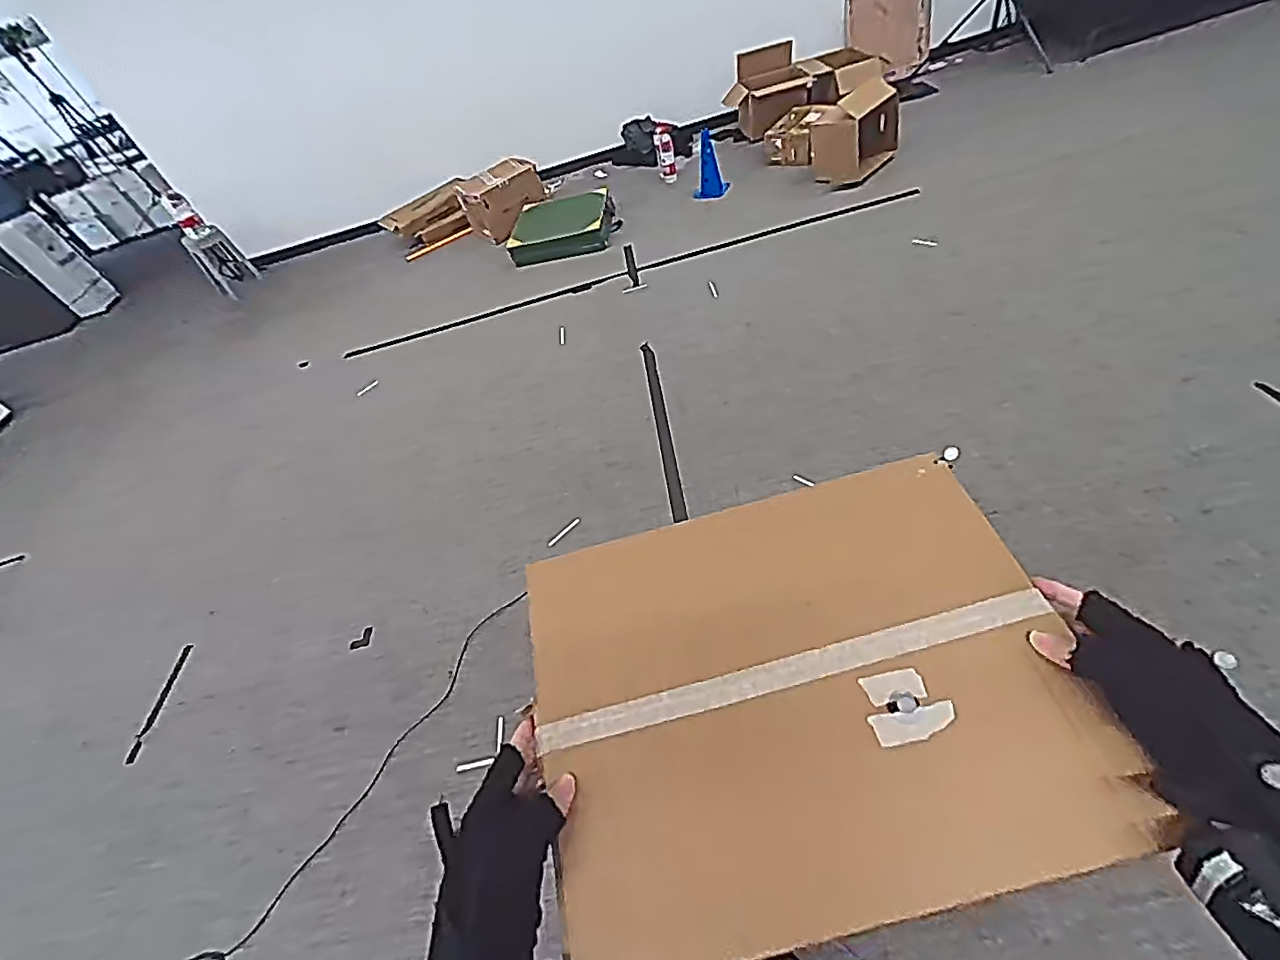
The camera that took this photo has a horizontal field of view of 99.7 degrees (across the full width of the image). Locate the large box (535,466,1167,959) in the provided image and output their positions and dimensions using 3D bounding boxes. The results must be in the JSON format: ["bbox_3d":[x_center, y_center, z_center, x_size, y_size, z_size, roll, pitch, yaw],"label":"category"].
[{"bbox_3d":[0.144,0.244,0.555,0.408,0.320,0.320,-16,54,1],"label":"large box"}]
